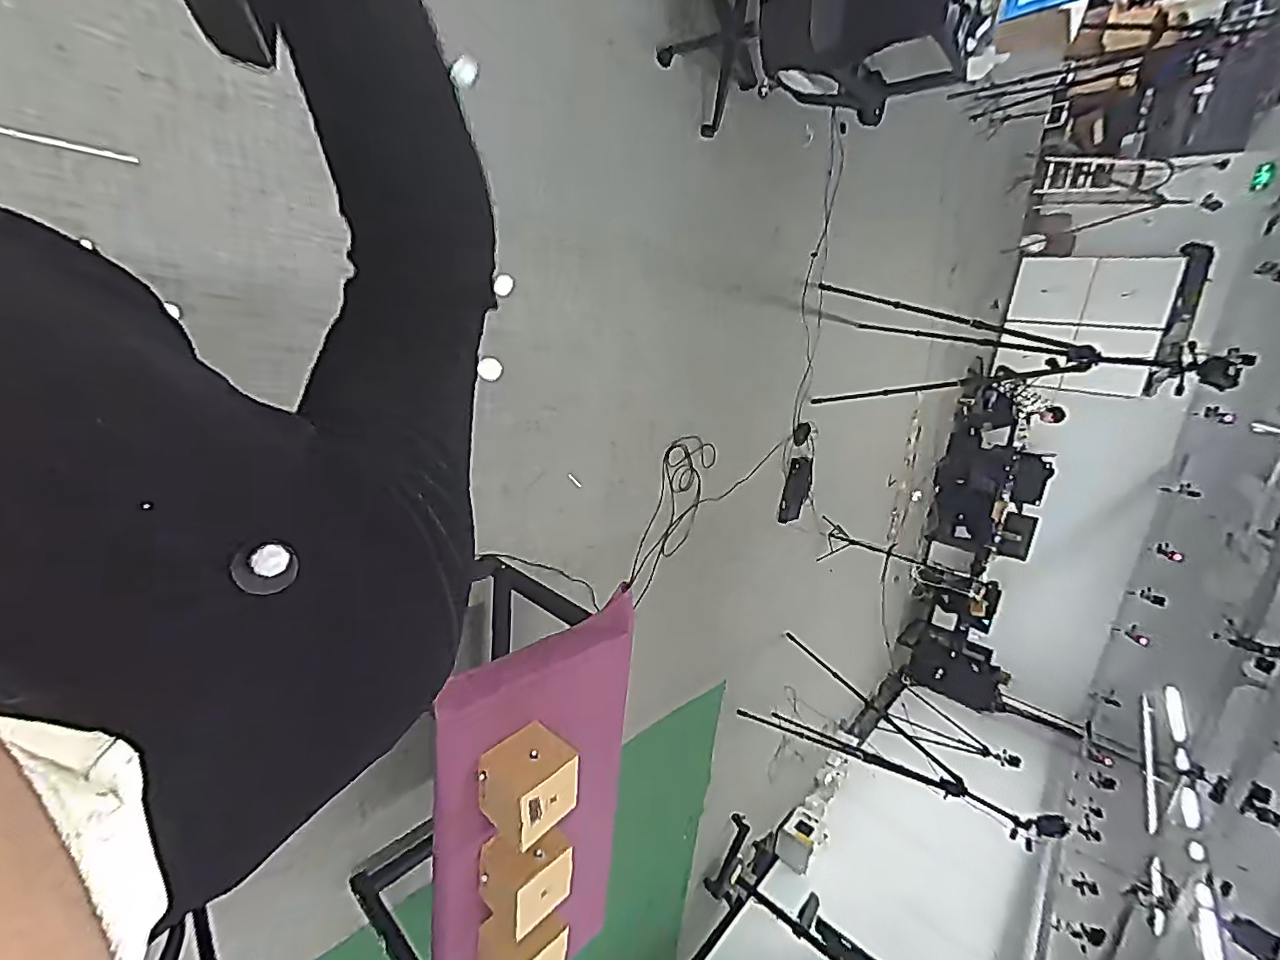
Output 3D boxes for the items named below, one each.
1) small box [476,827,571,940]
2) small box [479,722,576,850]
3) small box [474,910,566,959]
[{"bbox_3d":[-0.302,1.007,1.401,0.179,0.176,0.168,-10,111,-47],"label":"small box"},{"bbox_3d":[-0.277,0.734,1.317,0.179,0.176,0.168,-17,117,-47],"label":"small box"},{"bbox_3d":[-0.327,1.273,1.474,0.179,0.176,0.168,-8,110,-48],"label":"small box"}]
